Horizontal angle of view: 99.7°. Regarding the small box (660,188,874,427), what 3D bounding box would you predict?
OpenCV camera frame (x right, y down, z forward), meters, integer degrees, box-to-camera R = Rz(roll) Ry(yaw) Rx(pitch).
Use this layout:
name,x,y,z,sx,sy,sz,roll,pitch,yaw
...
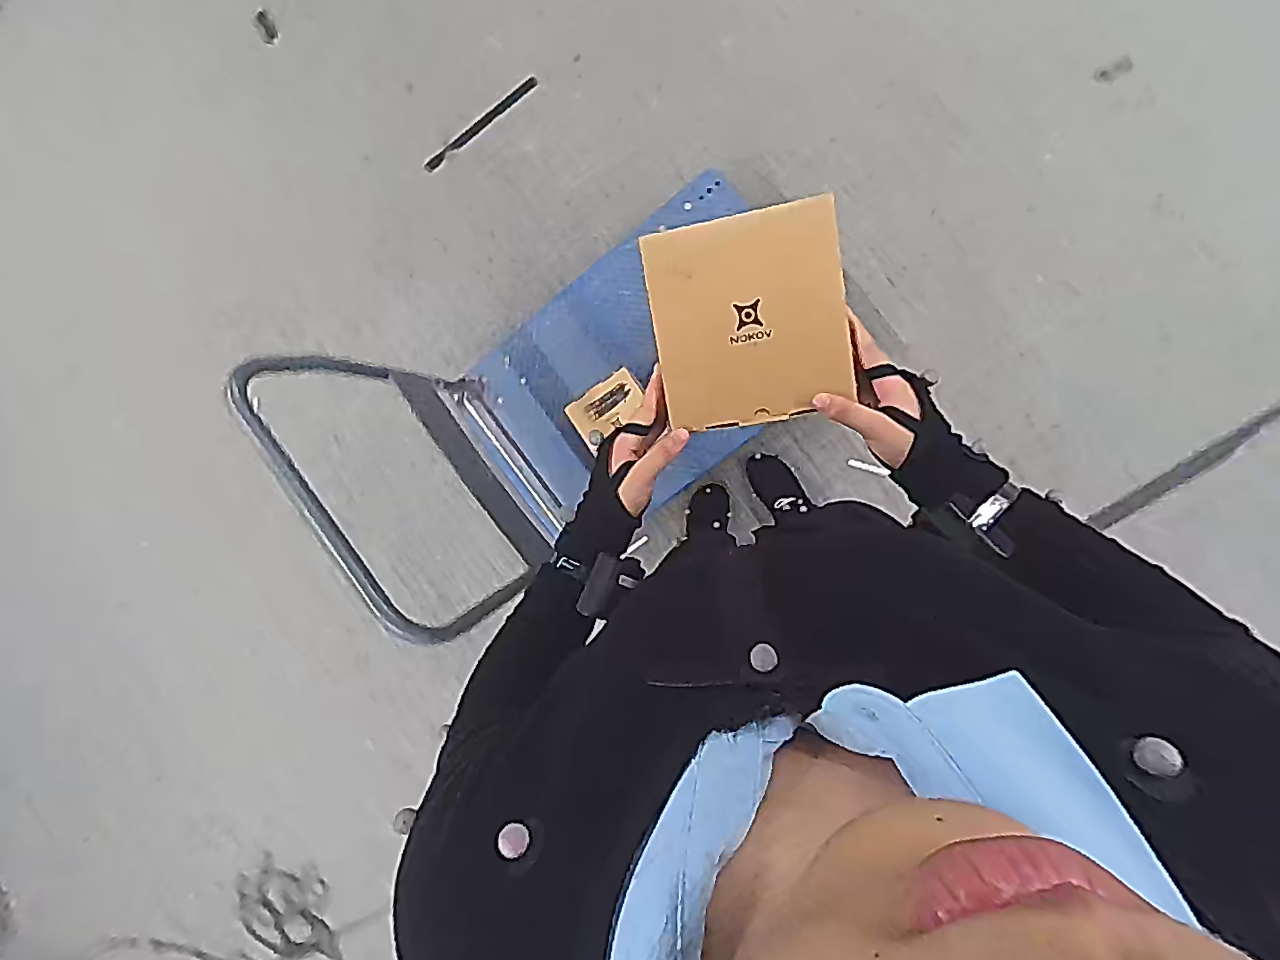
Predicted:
name,x,y,z,sx,sy,sz,roll,pitch,yaw
small box,0.115,-0.155,0.537,0.168,0.176,0.179,-8,99,8
